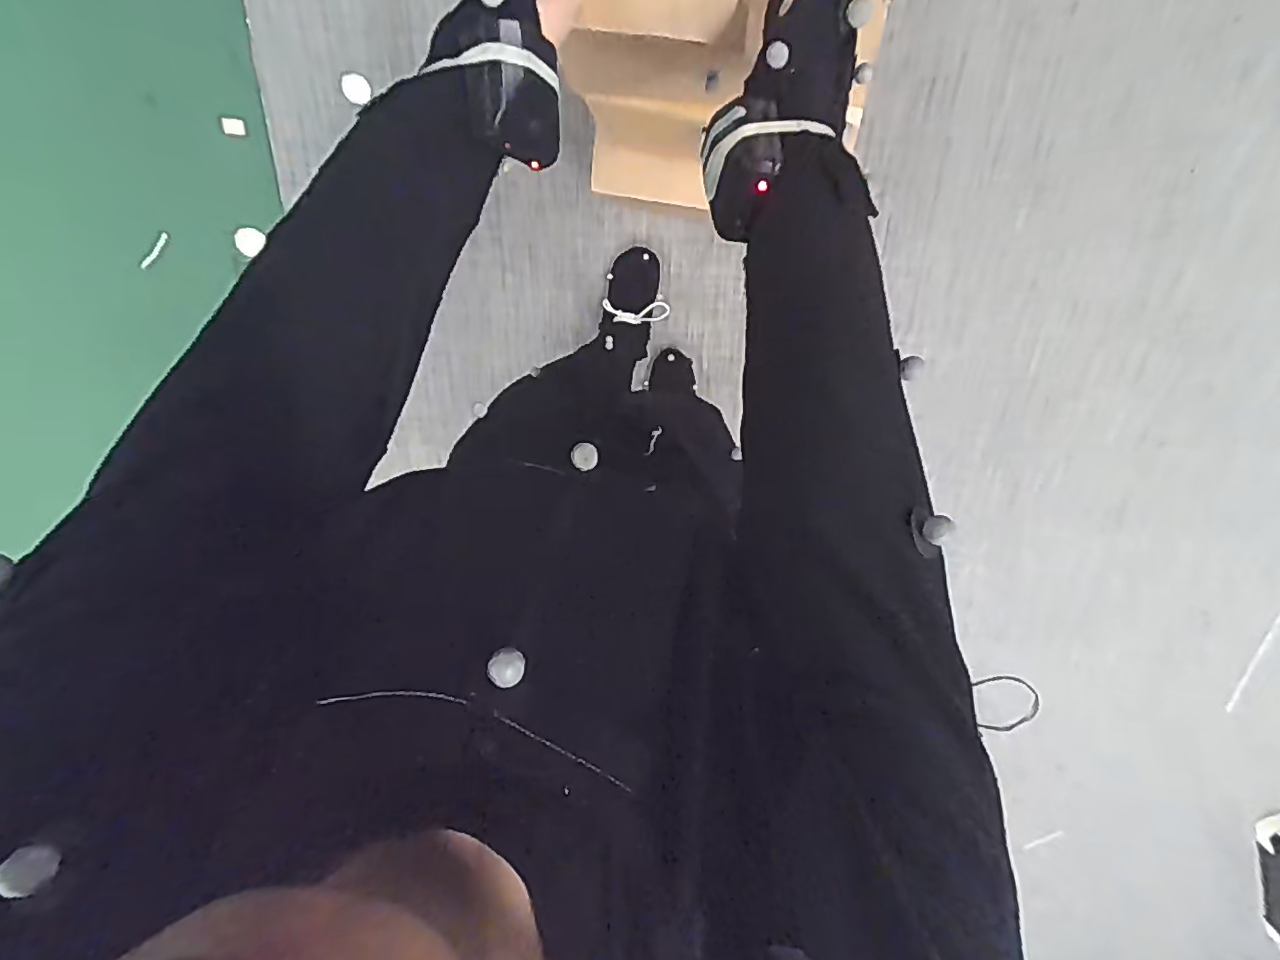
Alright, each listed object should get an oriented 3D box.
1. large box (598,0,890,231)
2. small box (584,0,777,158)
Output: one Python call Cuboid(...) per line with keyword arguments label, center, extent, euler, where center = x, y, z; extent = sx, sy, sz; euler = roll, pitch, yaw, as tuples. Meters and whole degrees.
Cuboid(label="large box", center=(0.149, -0.636, 0.961), extent=(0.408, 0.320, 0.320), euler=(8, 115, 0))
Cuboid(label="small box", center=(0.045, -0.475, 0.599), extent=(0.179, 0.176, 0.168), euler=(10, 111, -1))
